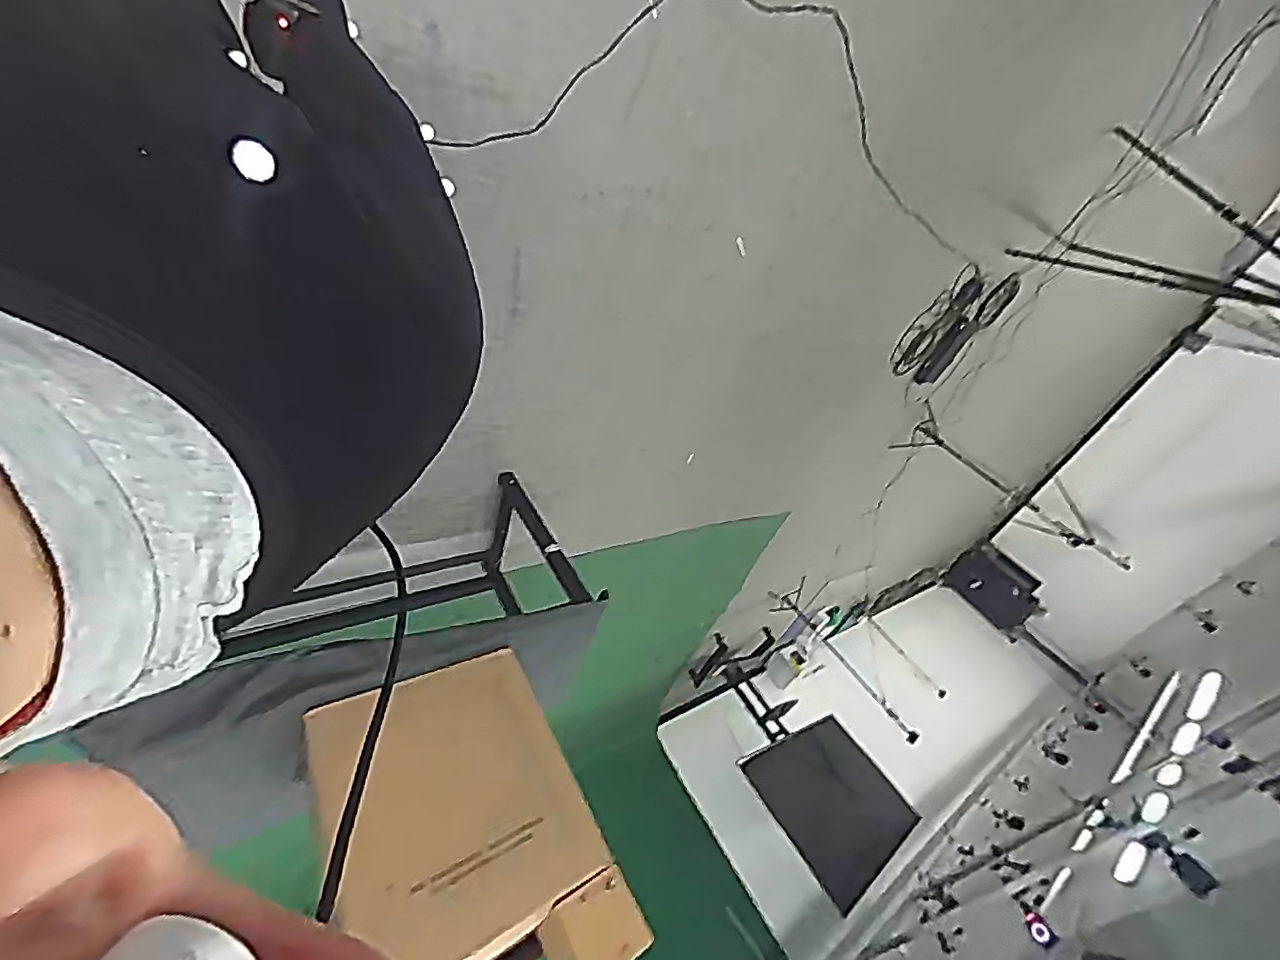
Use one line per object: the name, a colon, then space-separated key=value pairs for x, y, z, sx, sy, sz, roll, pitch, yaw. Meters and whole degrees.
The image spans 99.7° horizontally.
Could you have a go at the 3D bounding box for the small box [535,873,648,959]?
small box: x=-0.117 y=1.032 z=1.217 sx=0.168 sy=0.176 sz=0.179 roll=-7 pitch=135 yaw=-40
